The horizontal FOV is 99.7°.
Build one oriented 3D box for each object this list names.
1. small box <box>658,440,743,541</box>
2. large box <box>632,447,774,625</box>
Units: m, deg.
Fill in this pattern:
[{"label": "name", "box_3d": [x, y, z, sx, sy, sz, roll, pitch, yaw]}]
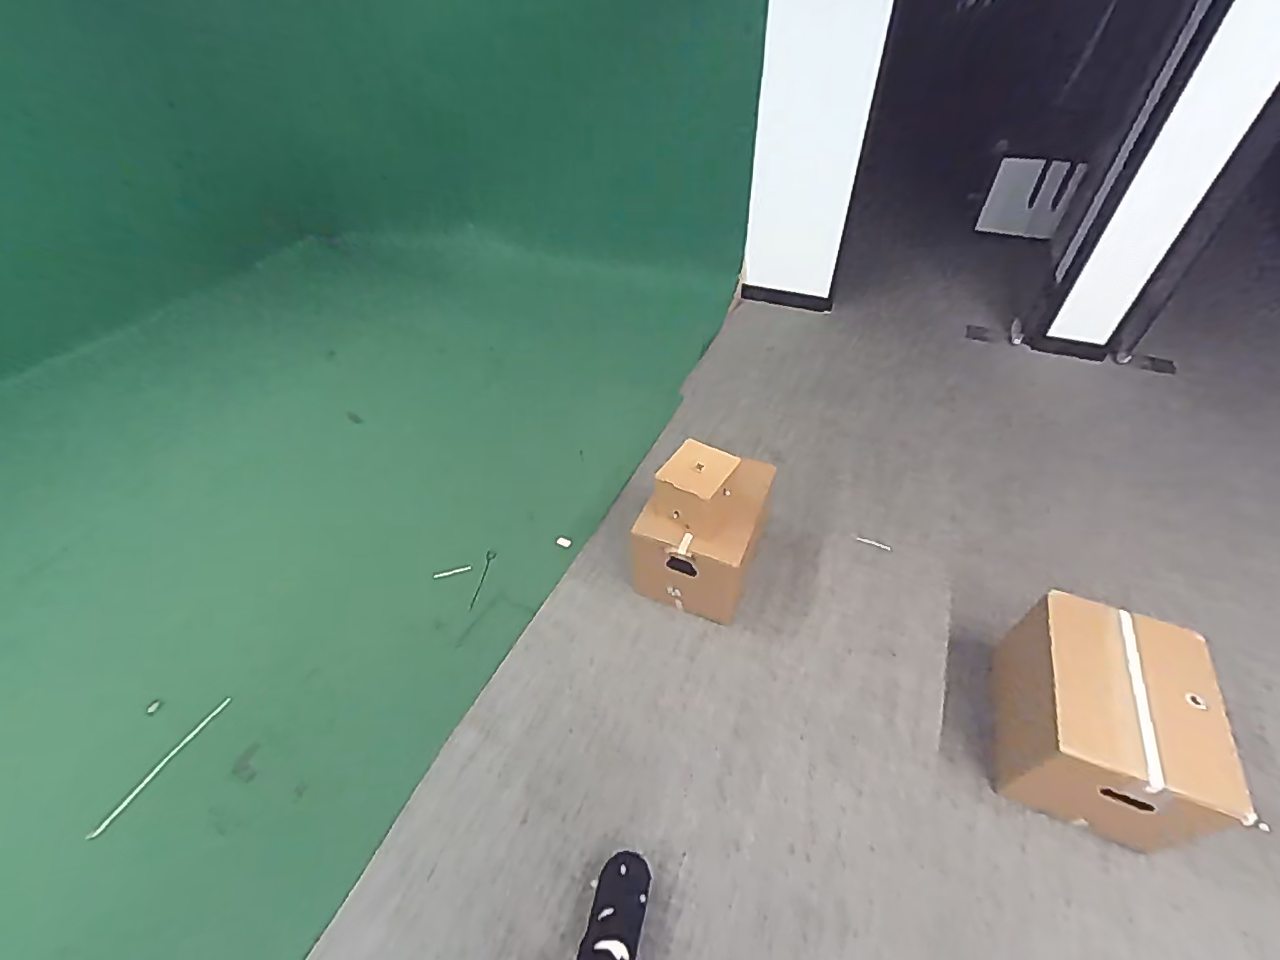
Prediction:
[{"label": "small box", "box_3d": [0.161, 0.029, 1.465, 0.168, 0.176, 0.179, 25, 53, 26]}, {"label": "large box", "box_3d": [0.200, 0.166, 1.670, 0.320, 0.320, 0.408, 17, 49, 19]}]
